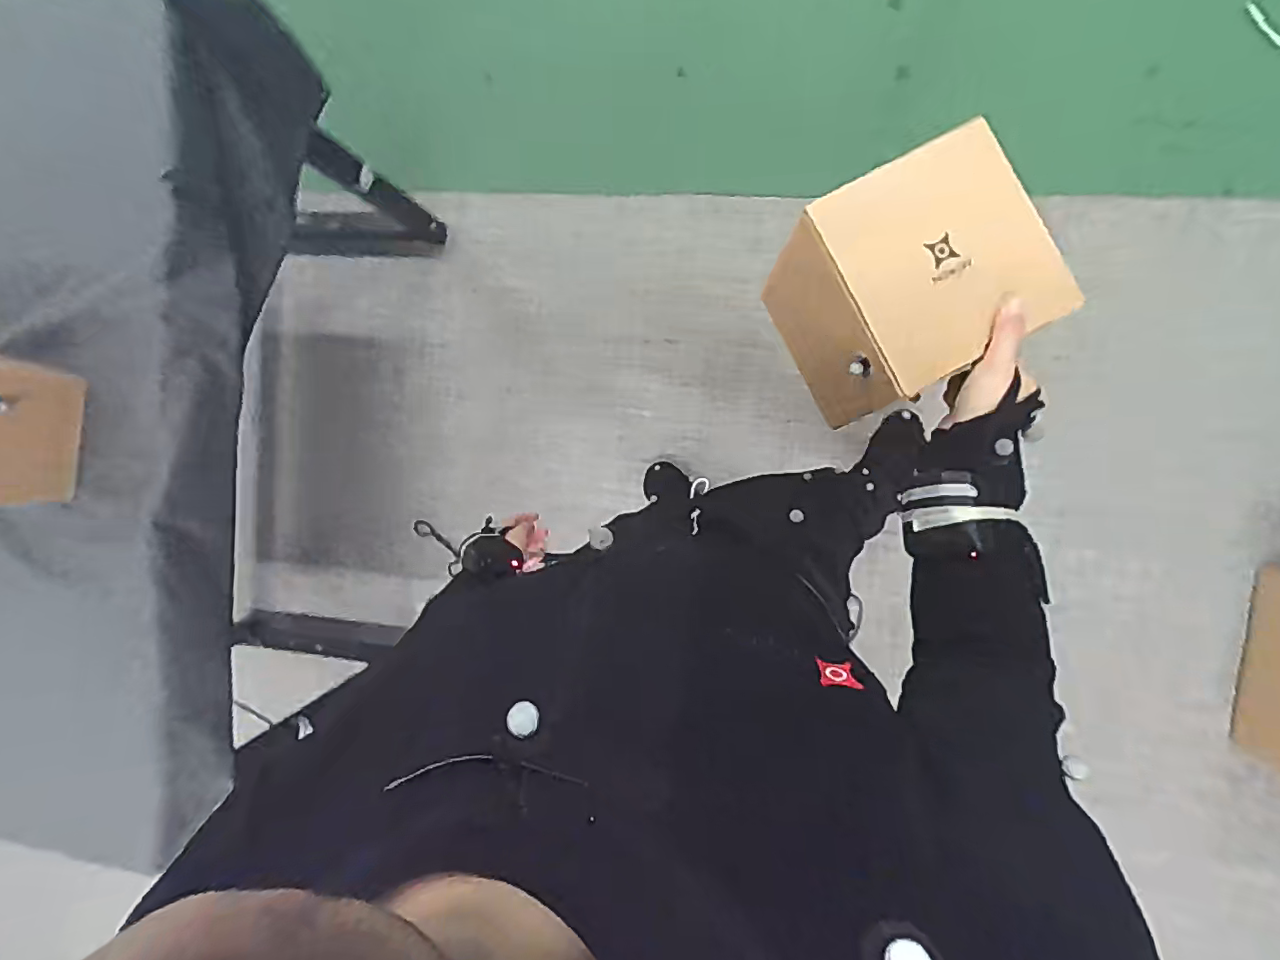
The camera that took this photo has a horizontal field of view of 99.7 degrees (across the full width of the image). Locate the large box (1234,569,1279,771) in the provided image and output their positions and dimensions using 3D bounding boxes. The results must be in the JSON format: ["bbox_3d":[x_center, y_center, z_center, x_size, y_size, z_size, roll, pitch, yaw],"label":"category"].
[{"bbox_3d":[1.440,0.404,1.010,0.320,0.320,0.408,4,95,10],"label":"large box"}]

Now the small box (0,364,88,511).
[{"bbox_3d":[-0.863,-0.061,0.685,0.168,0.176,0.179,13,96,10],"label":"small box"}]
